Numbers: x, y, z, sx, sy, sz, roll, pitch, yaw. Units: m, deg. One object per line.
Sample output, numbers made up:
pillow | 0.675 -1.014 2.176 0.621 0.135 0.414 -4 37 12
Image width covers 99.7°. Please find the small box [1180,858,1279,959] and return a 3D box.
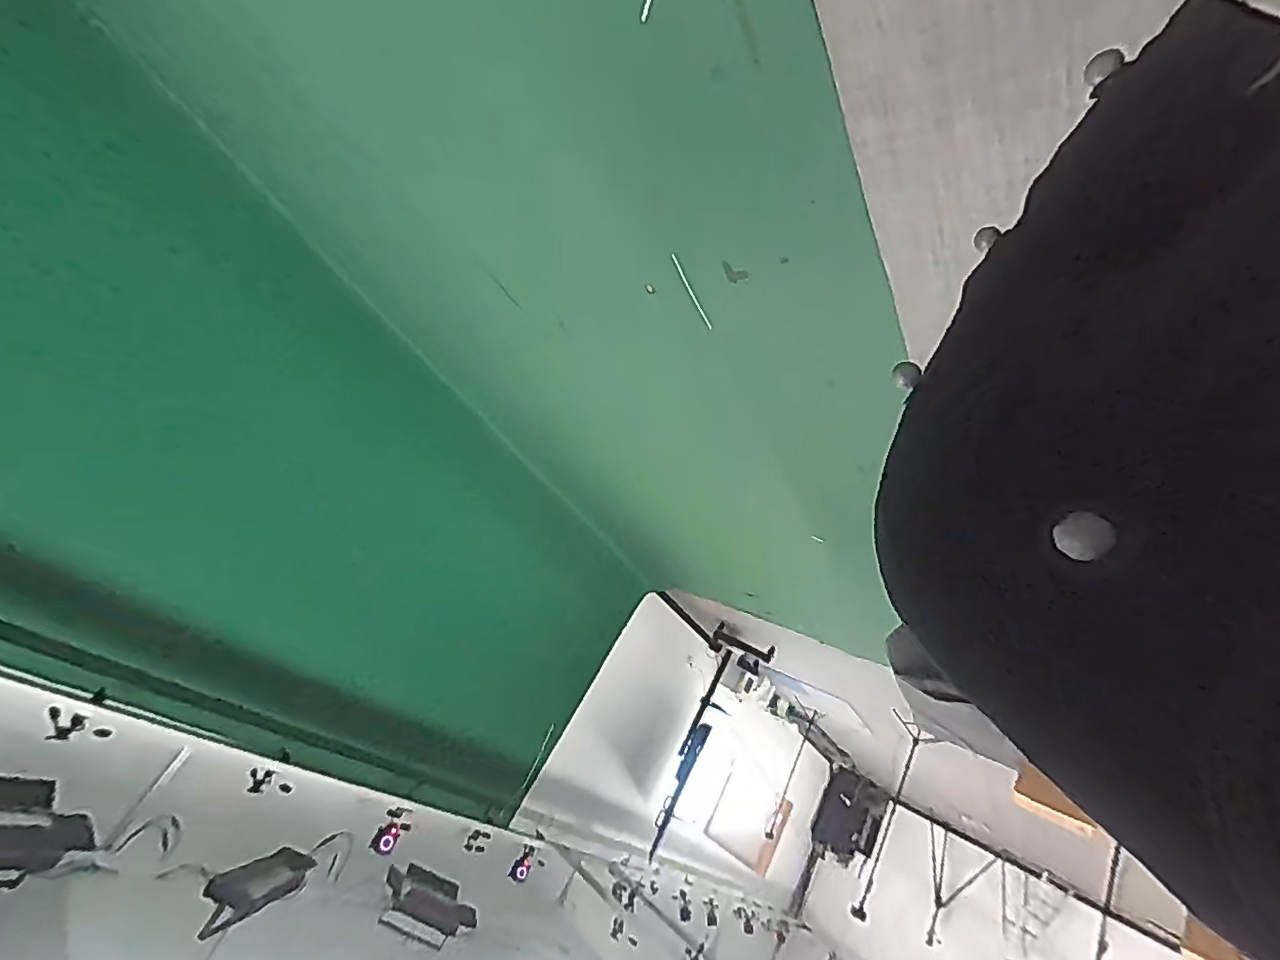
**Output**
small box | 1.357 1.004 1.223 0.179 0.176 0.168 8 148 49

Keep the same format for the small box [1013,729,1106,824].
small box | 1.191 0.833 1.538 0.179 0.176 0.168 12 152 43
